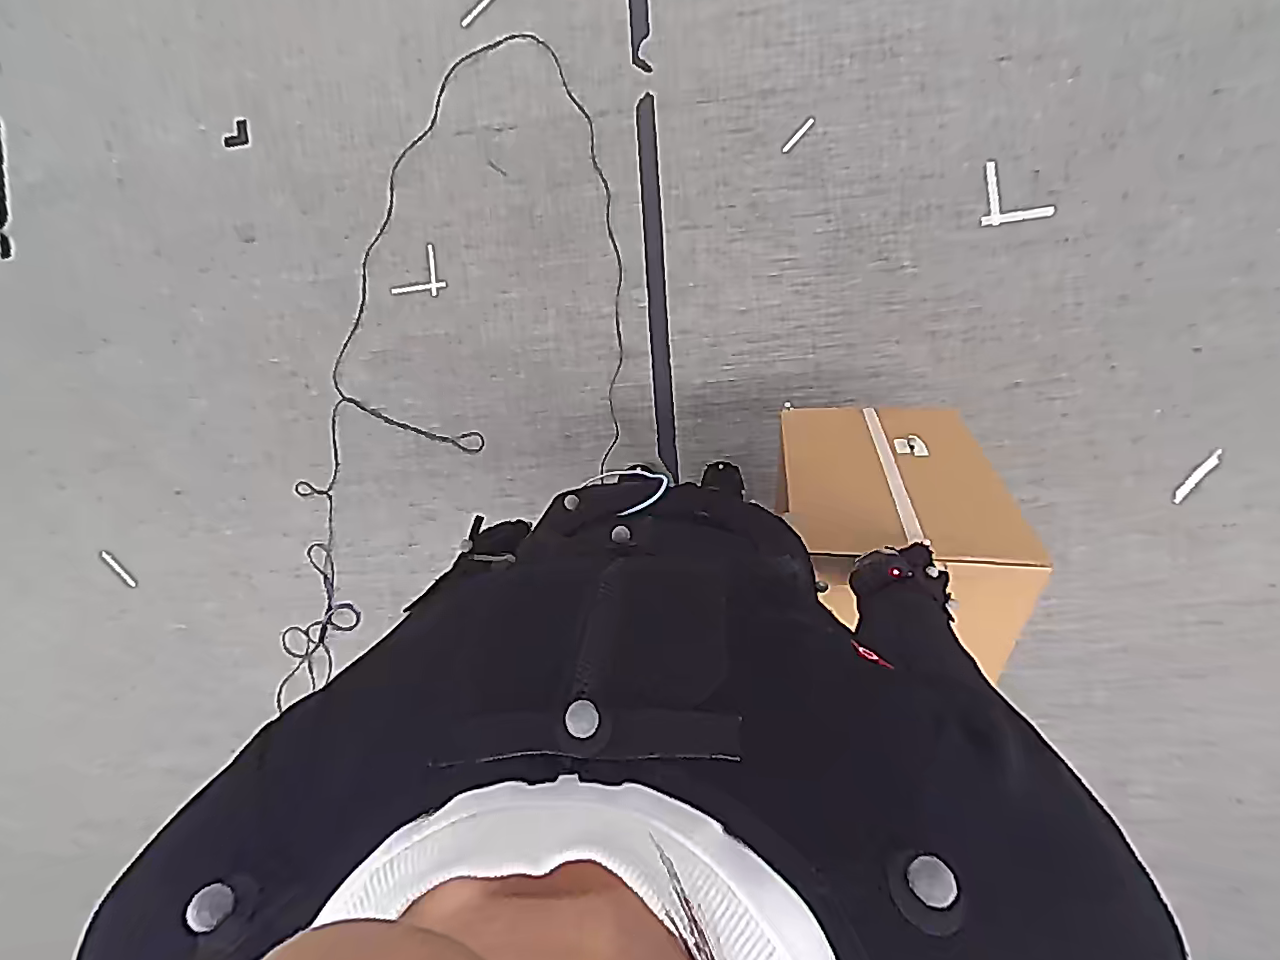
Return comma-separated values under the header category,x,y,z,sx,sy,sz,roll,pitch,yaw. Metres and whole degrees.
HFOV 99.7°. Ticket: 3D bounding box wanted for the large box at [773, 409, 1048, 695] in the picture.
category,x,y,z,sx,sy,sz,roll,pitch,yaw
large box,0.408,0.108,0.947,0.320,0.408,0.320,2,125,9
